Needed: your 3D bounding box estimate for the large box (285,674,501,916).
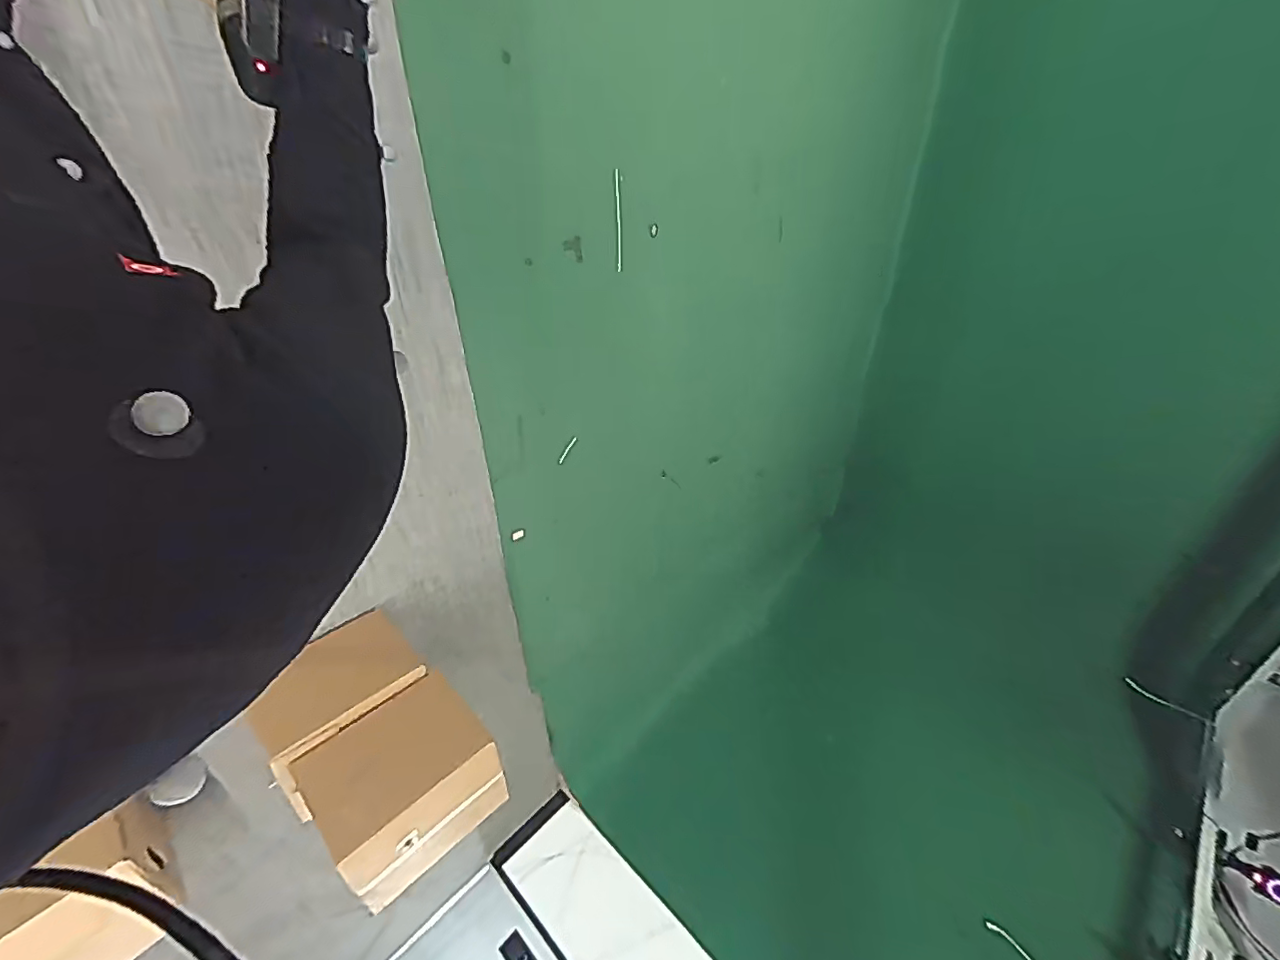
[{"bbox_3d":[-0.638,0.814,1.444,0.408,0.320,0.320,-29,136,-37],"label":"large box"}]
